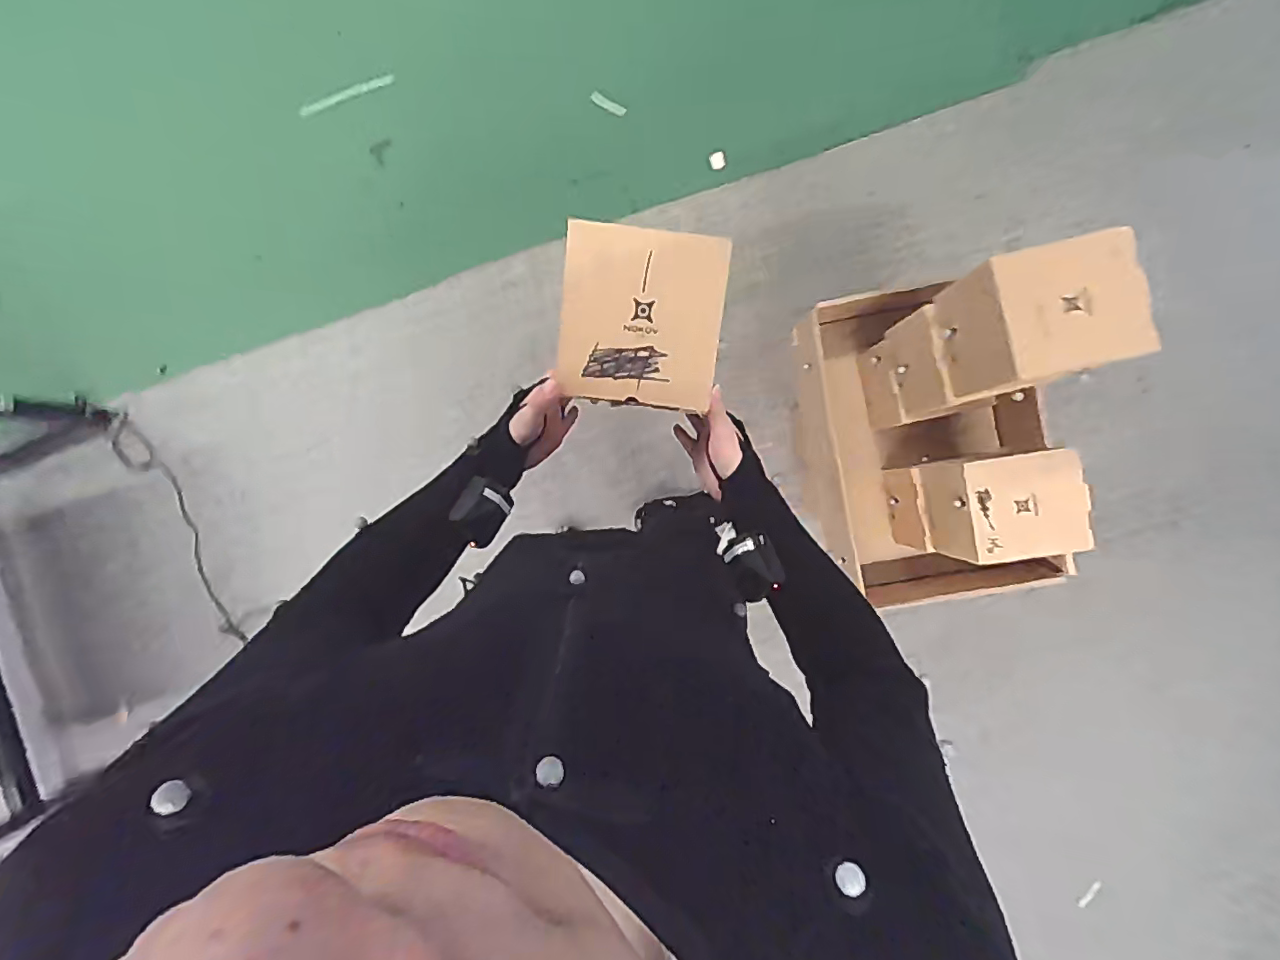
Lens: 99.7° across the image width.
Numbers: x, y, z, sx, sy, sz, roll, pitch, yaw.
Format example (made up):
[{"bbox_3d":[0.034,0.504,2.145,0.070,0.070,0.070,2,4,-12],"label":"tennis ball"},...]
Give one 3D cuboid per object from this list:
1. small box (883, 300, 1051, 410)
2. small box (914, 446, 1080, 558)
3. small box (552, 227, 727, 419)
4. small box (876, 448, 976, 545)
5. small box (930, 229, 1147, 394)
[{"bbox_3d":[0.554,-0.226,0.938,0.179,0.176,0.168,-14,91,3],"label":"small box"},{"bbox_3d":[0.612,0.031,0.946,0.179,0.176,0.168,-9,92,4],"label":"small box"},{"bbox_3d":[-0.003,-0.176,0.632,0.168,0.176,0.179,6,103,-2],"label":"small box"},{"bbox_3d":[0.613,0.028,1.111,0.179,0.176,0.168,-11,91,5],"label":"small box"},{"bbox_3d":[0.554,-0.228,0.774,0.179,0.176,0.168,-12,91,3],"label":"small box"}]
